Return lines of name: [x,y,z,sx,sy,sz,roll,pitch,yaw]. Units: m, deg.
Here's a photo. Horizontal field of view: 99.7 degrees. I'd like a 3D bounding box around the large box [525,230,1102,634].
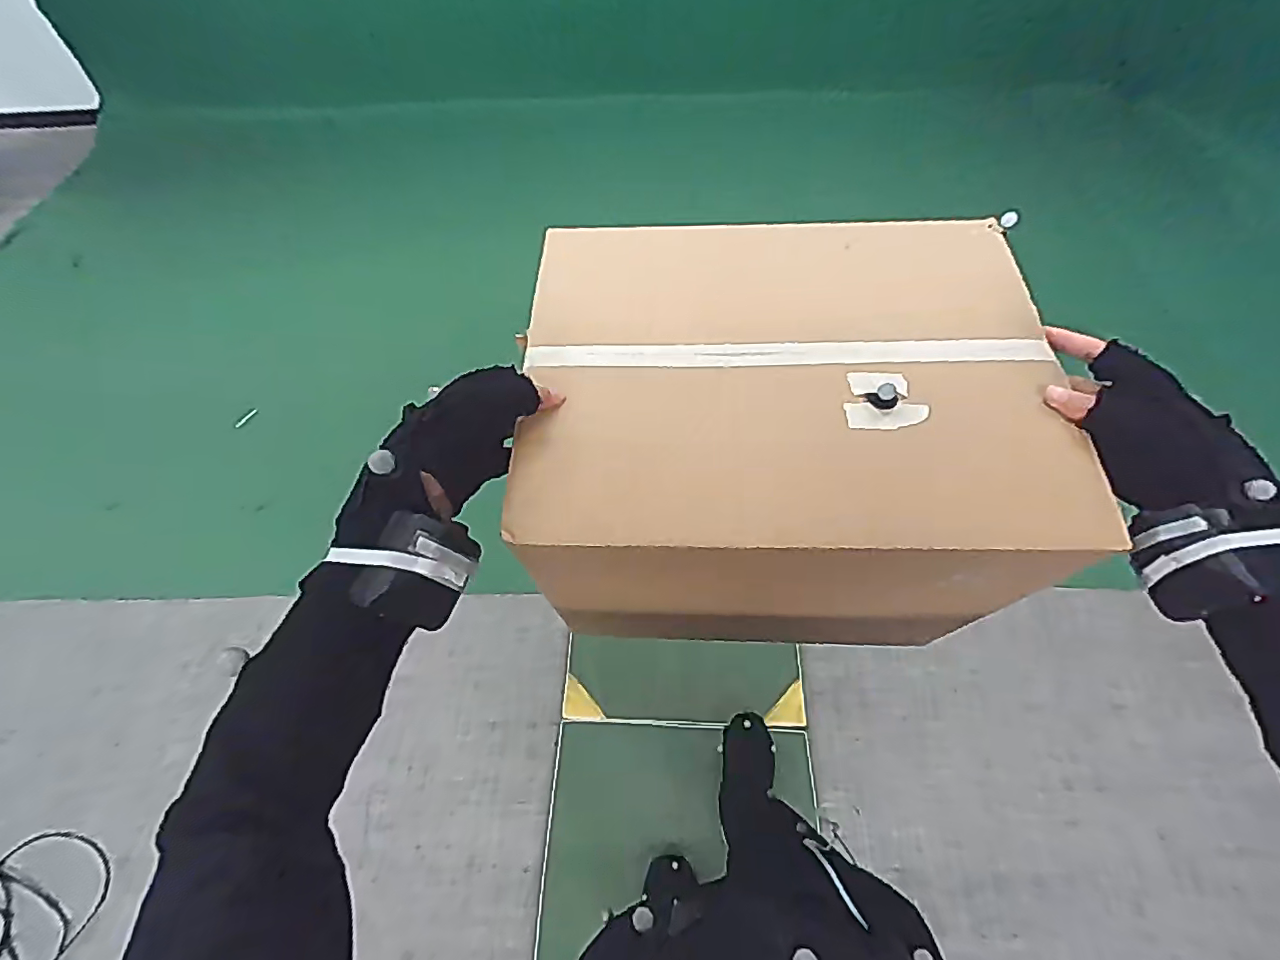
large box: [0.120,-0.027,0.570,0.408,0.320,0.320,0,63,2]
